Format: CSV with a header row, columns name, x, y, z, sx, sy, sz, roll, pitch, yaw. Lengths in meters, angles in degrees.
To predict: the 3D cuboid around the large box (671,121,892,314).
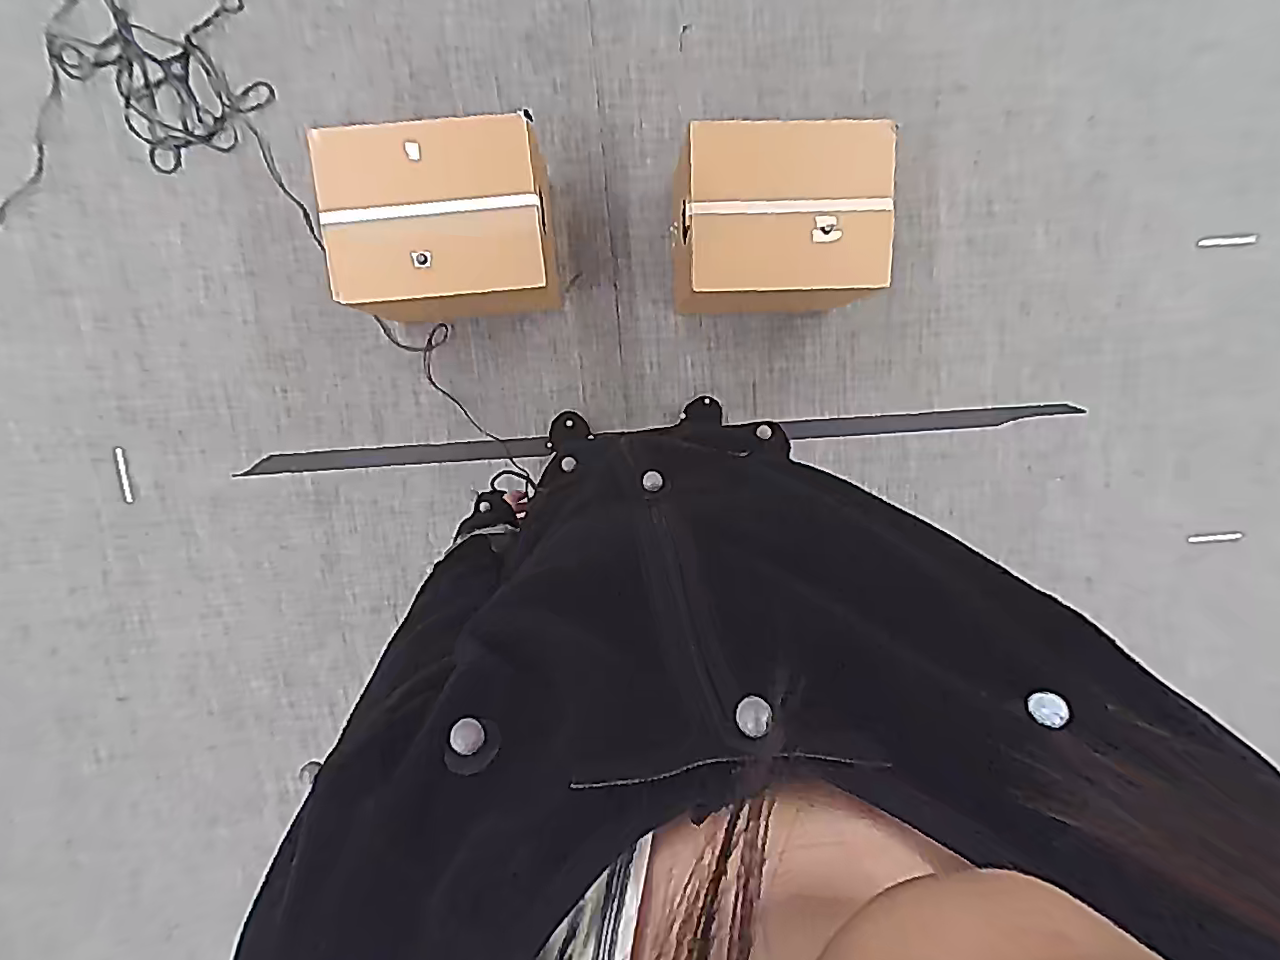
name,x,y,z,sx,sy,sz,roll,pitch,yaw
large box,0.289,-0.561,1.212,0.408,0.320,0.320,-2,99,-4
